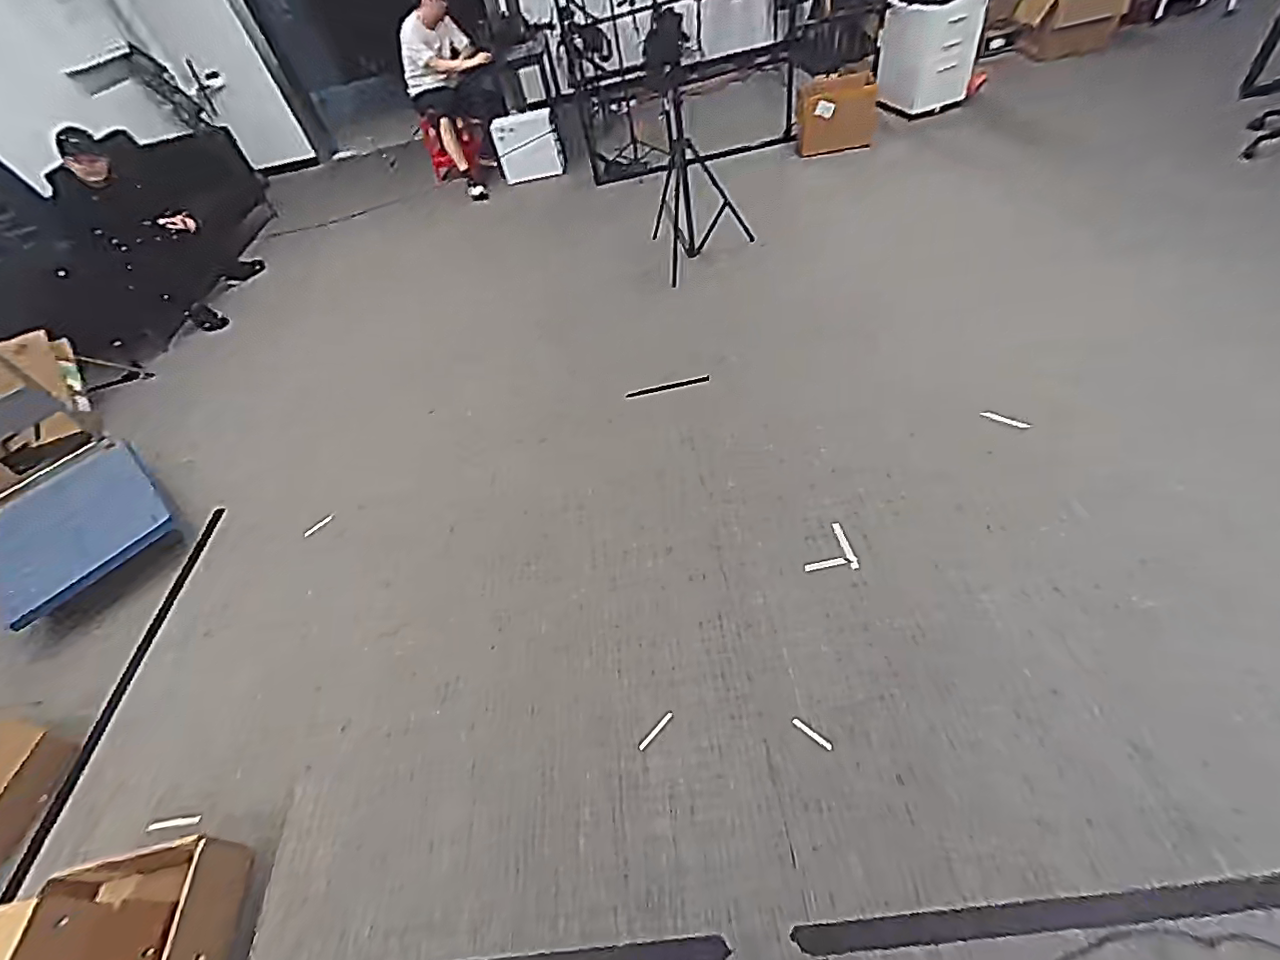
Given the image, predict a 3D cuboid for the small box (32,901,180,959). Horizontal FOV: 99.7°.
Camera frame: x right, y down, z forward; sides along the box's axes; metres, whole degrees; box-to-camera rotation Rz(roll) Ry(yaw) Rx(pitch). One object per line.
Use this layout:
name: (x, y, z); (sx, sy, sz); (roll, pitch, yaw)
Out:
small box: (-1.189, 1.056, 1.193); (0.179, 0.176, 0.168); (-14, 49, 1)
